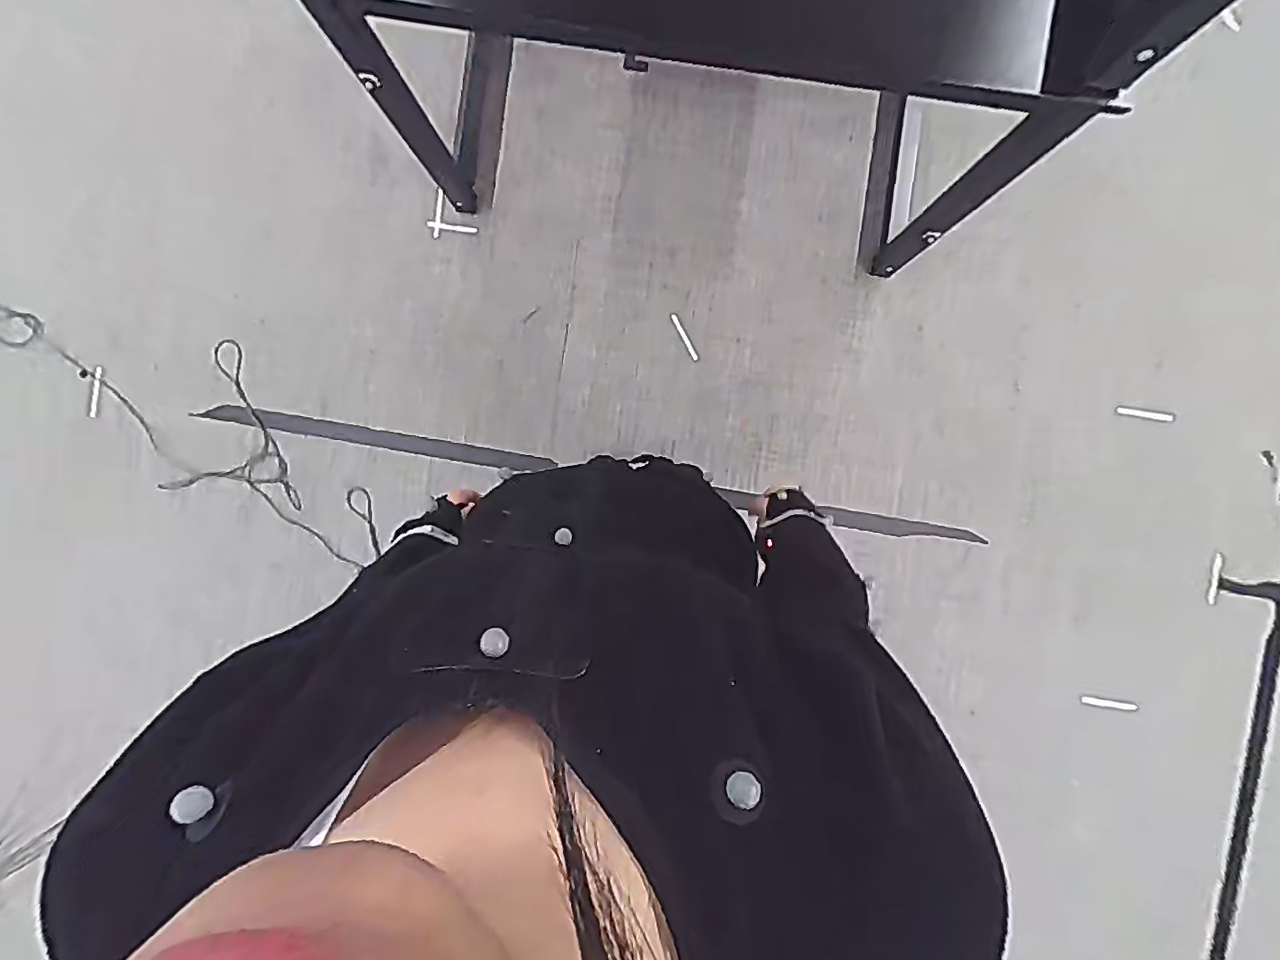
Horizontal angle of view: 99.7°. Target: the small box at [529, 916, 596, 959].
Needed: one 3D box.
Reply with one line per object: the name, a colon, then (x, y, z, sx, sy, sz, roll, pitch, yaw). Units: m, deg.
small box: (-0.206, 1.299, 1.428, 0.168, 0.176, 0.179, 0, 91, 0)
